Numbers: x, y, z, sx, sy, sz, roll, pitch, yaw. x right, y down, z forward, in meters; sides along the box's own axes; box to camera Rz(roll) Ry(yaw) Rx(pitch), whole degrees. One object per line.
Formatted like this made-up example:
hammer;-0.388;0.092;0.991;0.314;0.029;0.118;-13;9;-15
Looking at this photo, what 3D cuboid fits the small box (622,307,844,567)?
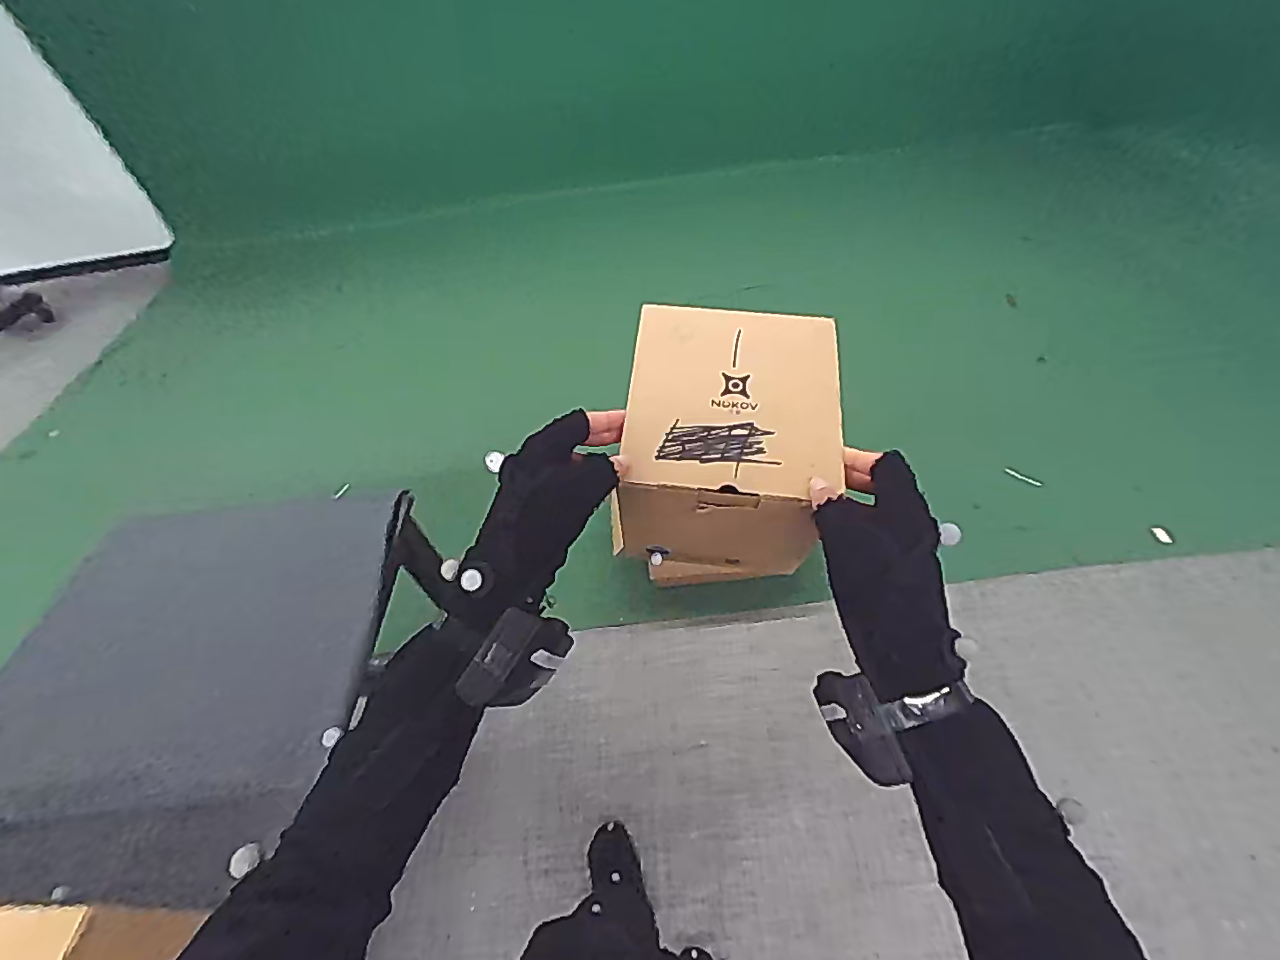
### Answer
small box;0.081;-0.031;0.502;0.168;0.176;0.179;7;63;4
